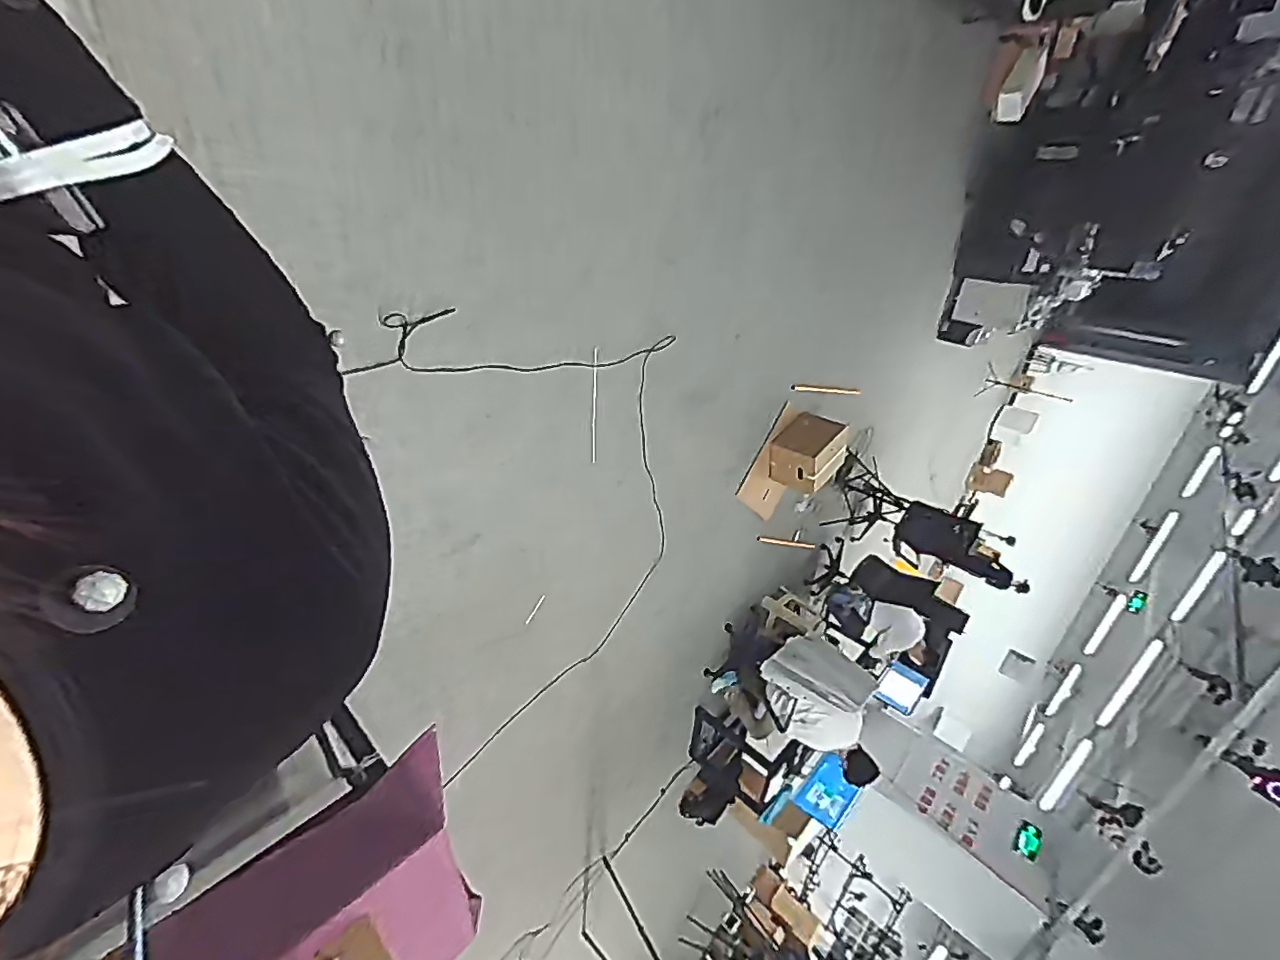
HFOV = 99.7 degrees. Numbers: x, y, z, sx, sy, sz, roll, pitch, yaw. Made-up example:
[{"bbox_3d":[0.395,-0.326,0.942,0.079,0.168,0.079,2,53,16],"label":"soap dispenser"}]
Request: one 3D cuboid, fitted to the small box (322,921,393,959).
[{"bbox_3d":[-0.592,1.083,1.114,0.179,0.176,0.168,-24,129,-40],"label":"small box"}]
